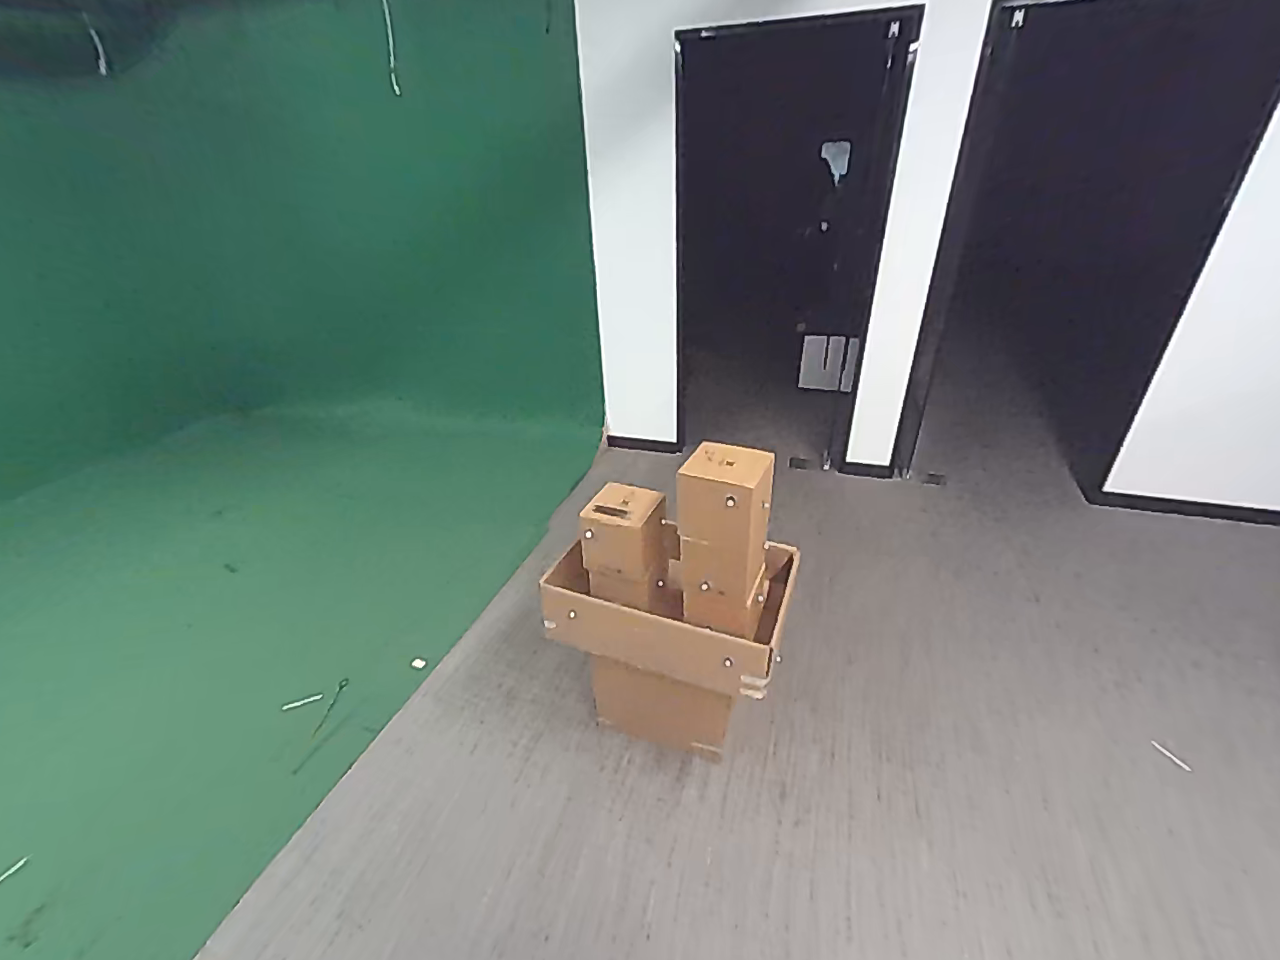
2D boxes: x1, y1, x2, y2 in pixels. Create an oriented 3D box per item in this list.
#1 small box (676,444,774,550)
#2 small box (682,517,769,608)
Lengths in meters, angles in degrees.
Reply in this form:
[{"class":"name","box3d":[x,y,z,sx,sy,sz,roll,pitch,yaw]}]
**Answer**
[{"class":"small box","box3d":[0.196,0.039,1.233,0.179,0.176,0.168,11,33,26]},{"class":"small box","box3d":[0.208,0.179,1.319,0.168,0.176,0.179,10,34,24]}]
